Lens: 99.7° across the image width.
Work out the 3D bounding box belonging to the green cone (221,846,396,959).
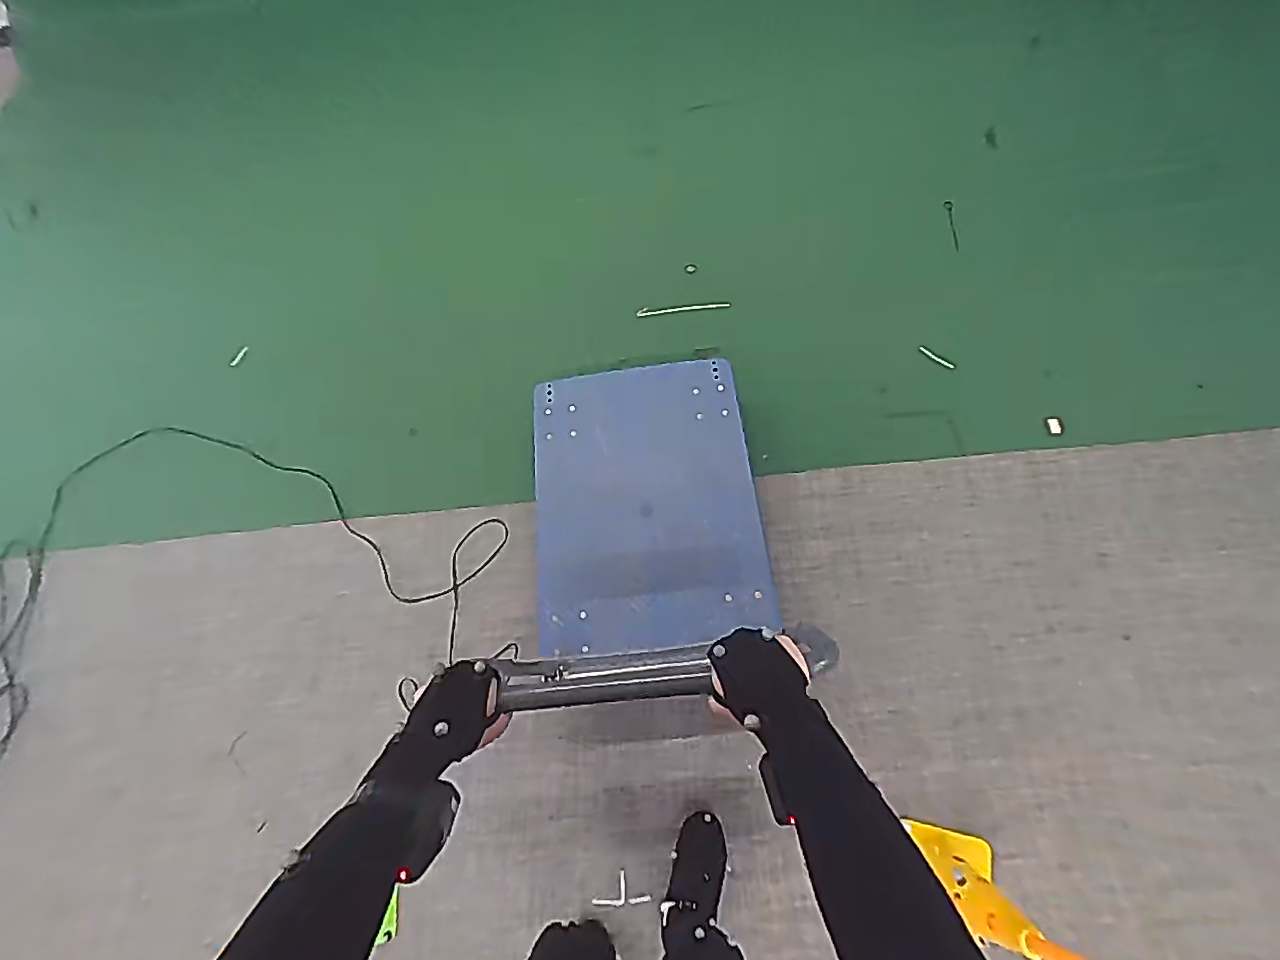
[{"bbox_3d":[-0.691,0.915,1.109,0.202,0.368,0.200,-10,66,4],"label":"green cone"}]
